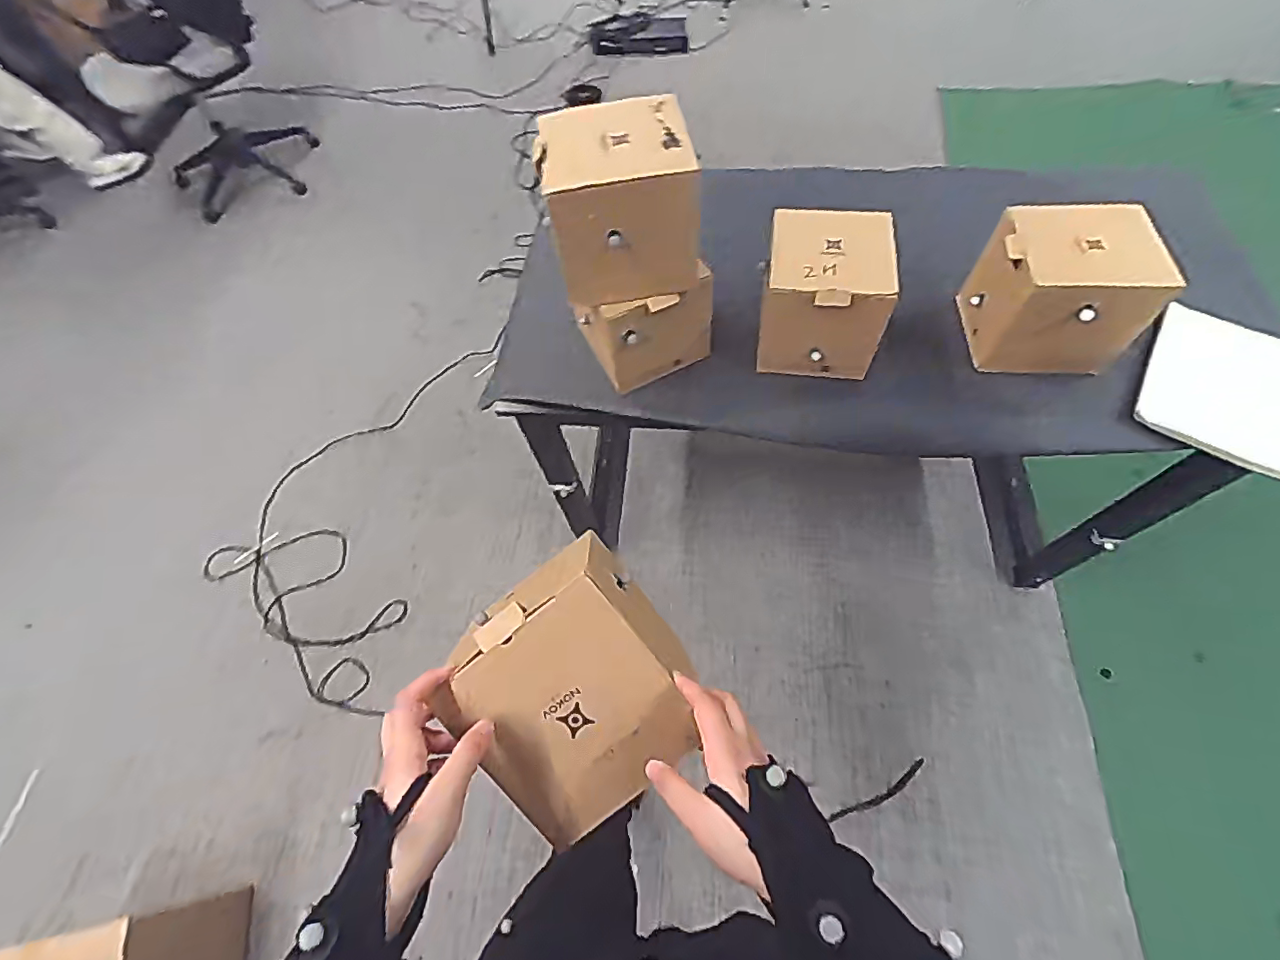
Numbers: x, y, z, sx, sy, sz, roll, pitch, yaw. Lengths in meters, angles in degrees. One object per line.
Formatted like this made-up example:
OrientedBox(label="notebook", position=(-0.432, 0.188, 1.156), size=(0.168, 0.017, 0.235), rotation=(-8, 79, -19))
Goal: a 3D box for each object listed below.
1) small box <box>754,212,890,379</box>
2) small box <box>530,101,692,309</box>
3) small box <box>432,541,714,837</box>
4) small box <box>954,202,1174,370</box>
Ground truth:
OrientedBox(label="small box", position=(0.266, -0.278, 0.824), size=(0.168, 0.176, 0.179), rotation=(5, 61, 10))
OrientedBox(label="small box", position=(-0.033, -0.348, 0.705), size=(0.179, 0.176, 0.168), rotation=(-10, 61, 1))
OrientedBox(label="small box", position=(-0.058, 0.175, 0.519), size=(0.168, 0.176, 0.179), rotation=(-39, 97, 2))
OrientedBox(label="small box", position=(0.595, -0.276, 0.789), size=(0.179, 0.176, 0.168), rotation=(2, 61, 8))
